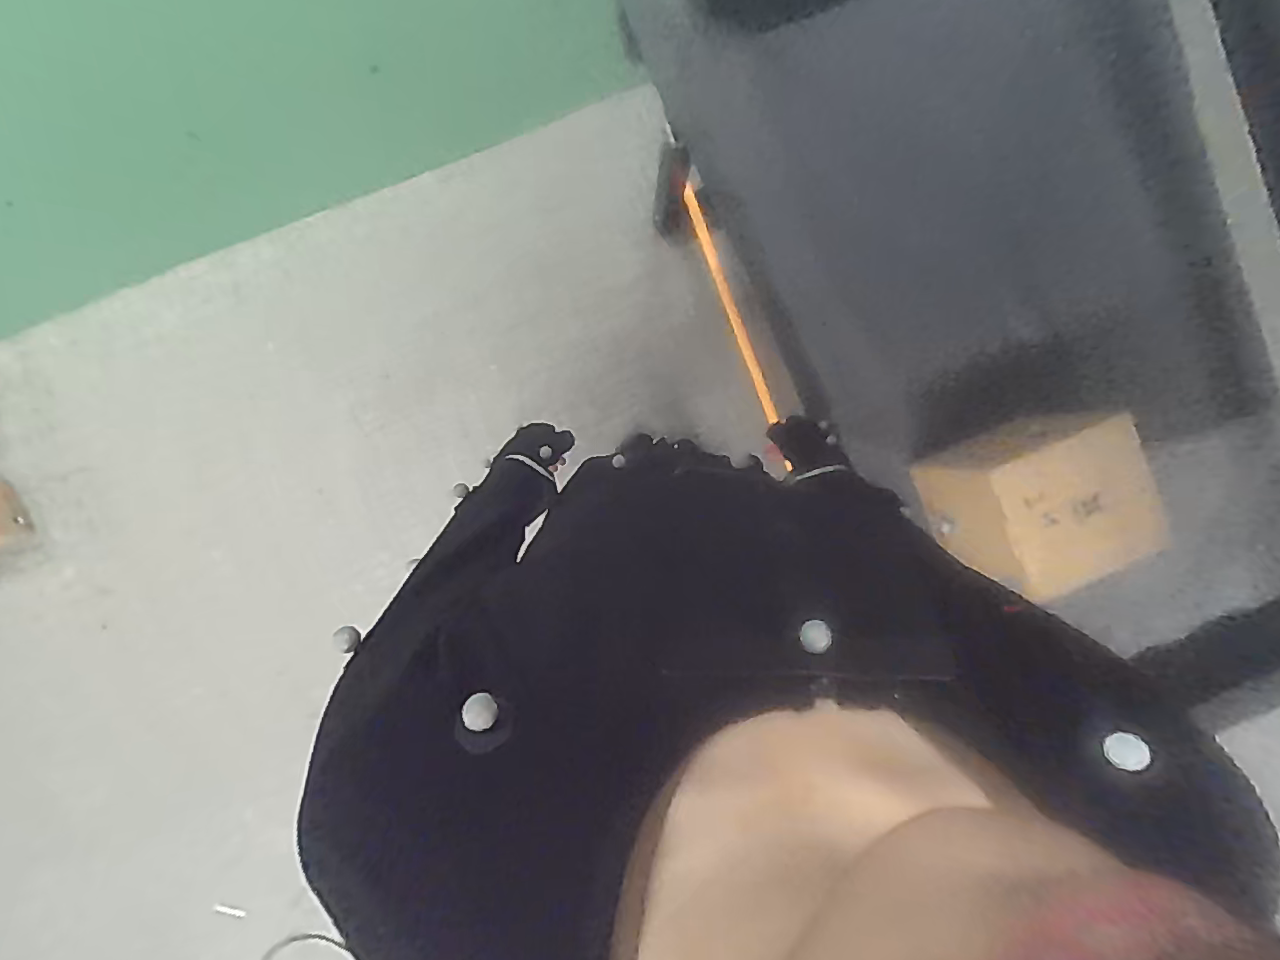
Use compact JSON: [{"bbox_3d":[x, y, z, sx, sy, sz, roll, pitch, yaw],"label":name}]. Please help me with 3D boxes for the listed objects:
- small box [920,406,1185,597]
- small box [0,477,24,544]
[{"bbox_3d":[0.495,0.020,0.674,0.179,0.176,0.168,-23,93,-1],"label":"small box"},{"bbox_3d":[-1.712,0.096,1.343,0.179,0.176,0.168,-26,93,0],"label":"small box"}]
